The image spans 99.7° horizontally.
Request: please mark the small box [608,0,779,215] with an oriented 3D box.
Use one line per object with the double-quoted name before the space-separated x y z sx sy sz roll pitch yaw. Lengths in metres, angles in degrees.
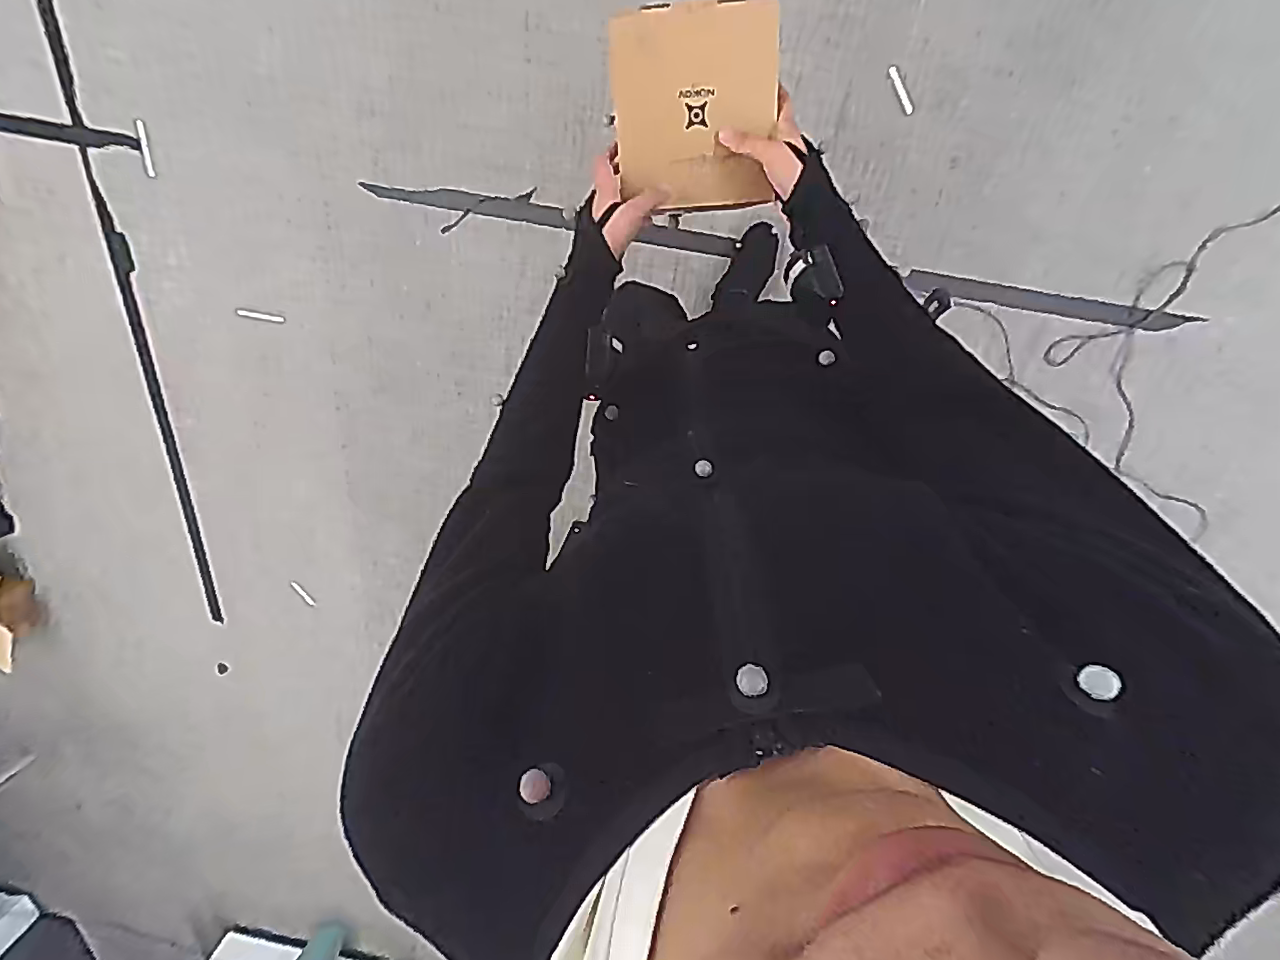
"small box" 0.050 -0.404 0.611 0.168 0.176 0.179 -4 114 0
